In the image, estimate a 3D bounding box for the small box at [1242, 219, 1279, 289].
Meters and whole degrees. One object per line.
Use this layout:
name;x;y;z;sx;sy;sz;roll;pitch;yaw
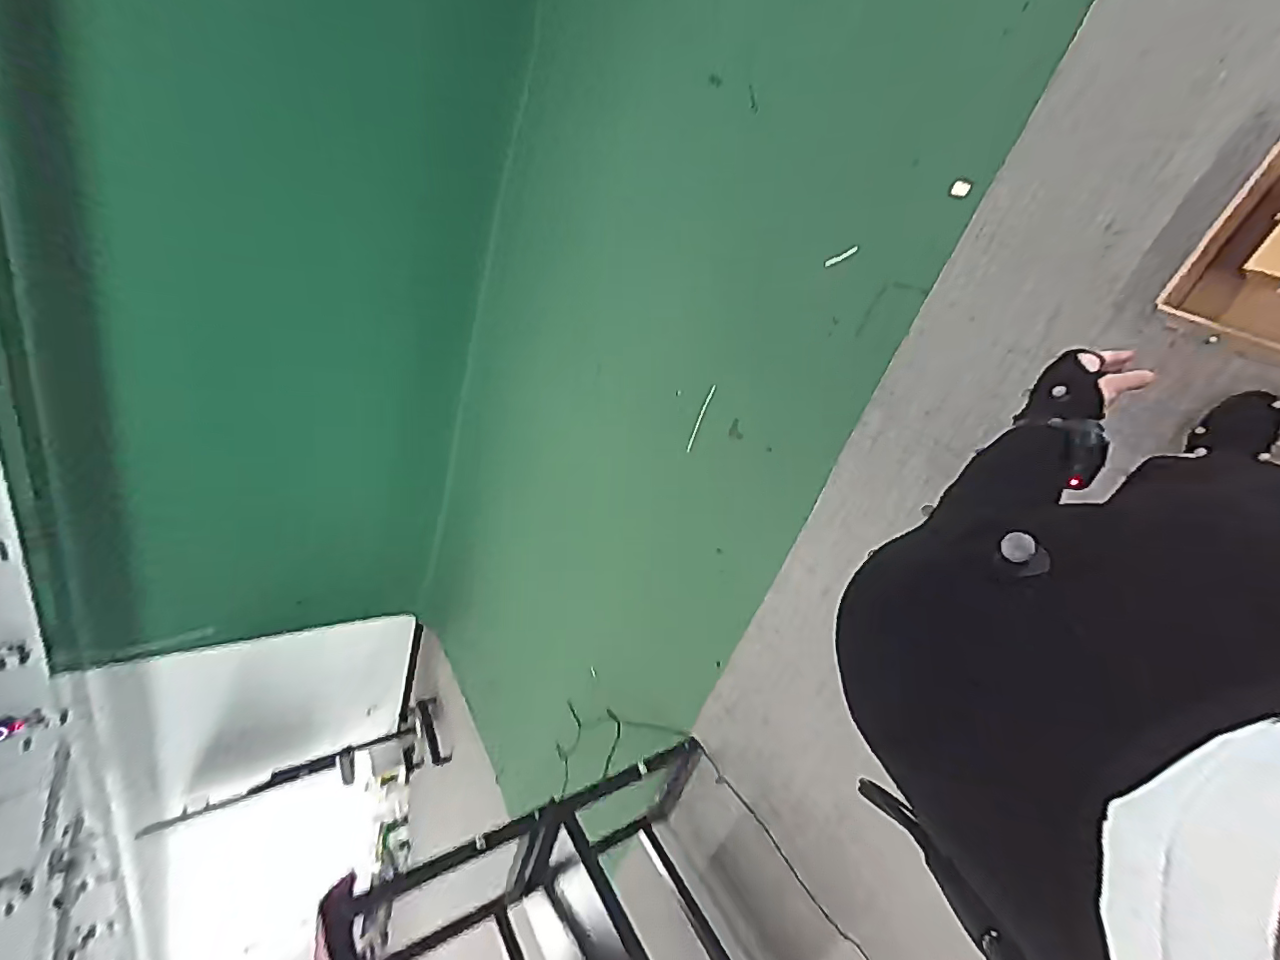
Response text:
small box;1.216;-0.415;0.932;0.168;0.176;0.179;46;124;39
